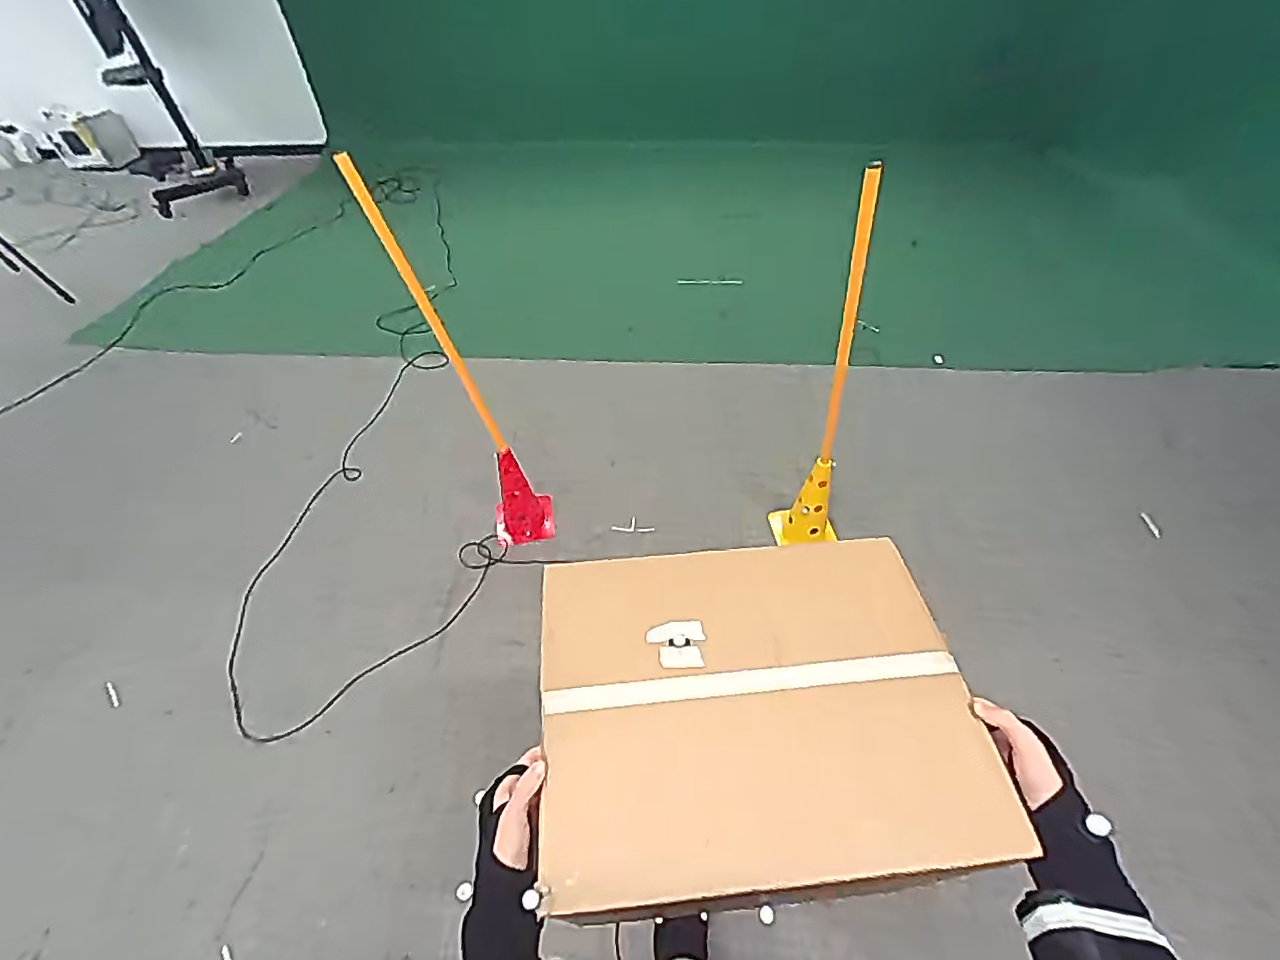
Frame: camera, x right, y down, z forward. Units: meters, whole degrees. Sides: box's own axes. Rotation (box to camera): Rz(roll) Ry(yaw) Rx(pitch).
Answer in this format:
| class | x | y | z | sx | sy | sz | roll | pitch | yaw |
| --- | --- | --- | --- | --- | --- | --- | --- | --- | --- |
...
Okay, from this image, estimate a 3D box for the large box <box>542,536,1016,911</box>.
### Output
| class | x | y | z | sx | sy | sz | roll | pitch | yaw |
| --- | --- | --- | --- | --- | --- | --- | --- | --- | --- |
| large box | 0.109 | 0.295 | 0.648 | 0.408 | 0.320 | 0.320 | -5 | 49 | -3 |
